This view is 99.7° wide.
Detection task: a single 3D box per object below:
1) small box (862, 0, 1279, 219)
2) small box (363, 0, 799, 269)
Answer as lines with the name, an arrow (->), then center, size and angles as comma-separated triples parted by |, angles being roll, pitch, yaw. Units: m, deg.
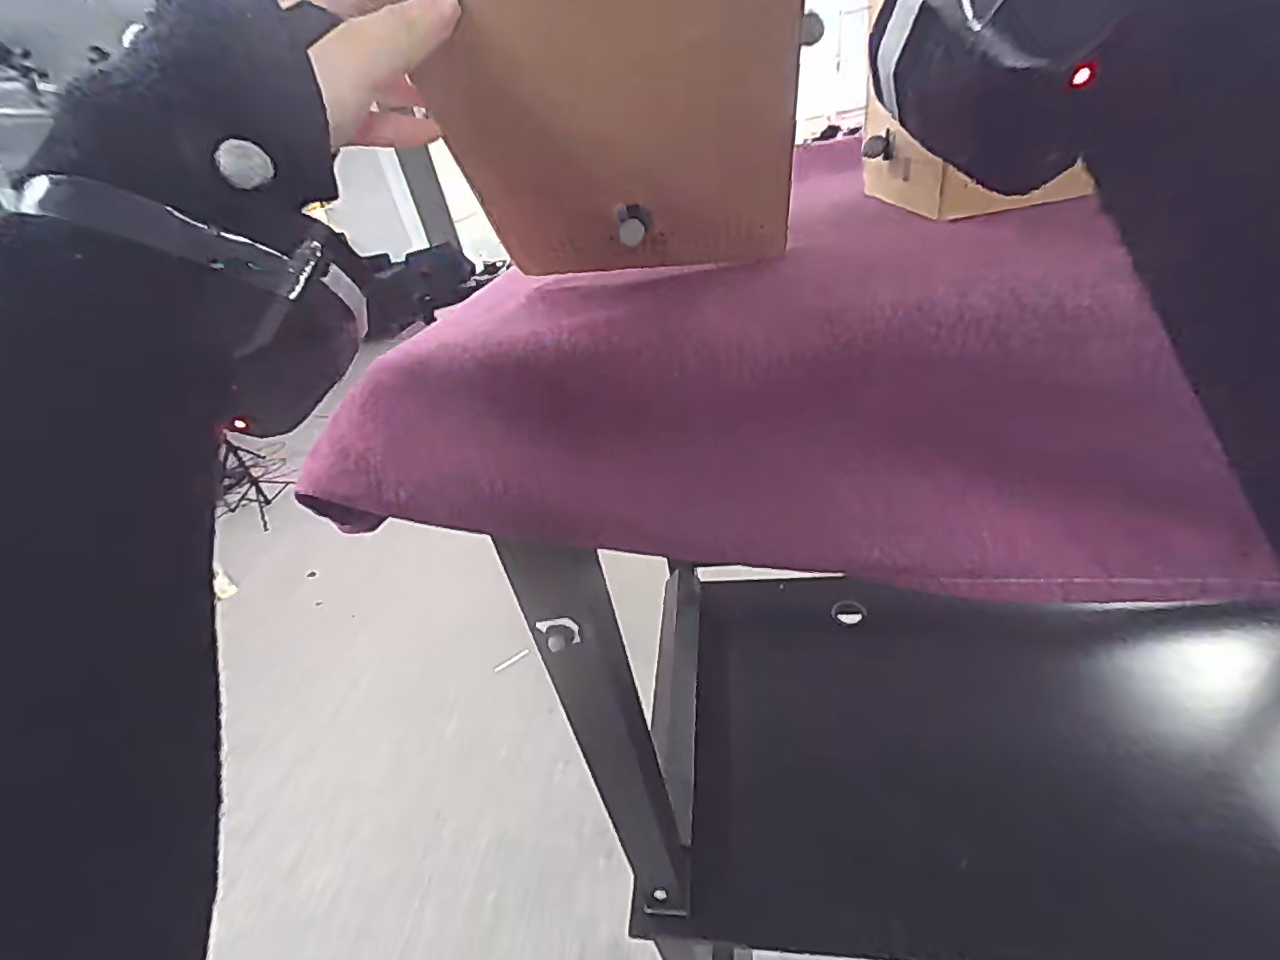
small box -> 0.251, -0.278, 0.336 | 0.179, 0.176, 0.168 | -7, 32, 9
small box -> -0.008, -0.239, 0.294 | 0.179, 0.176, 0.168 | 0, 68, 12
